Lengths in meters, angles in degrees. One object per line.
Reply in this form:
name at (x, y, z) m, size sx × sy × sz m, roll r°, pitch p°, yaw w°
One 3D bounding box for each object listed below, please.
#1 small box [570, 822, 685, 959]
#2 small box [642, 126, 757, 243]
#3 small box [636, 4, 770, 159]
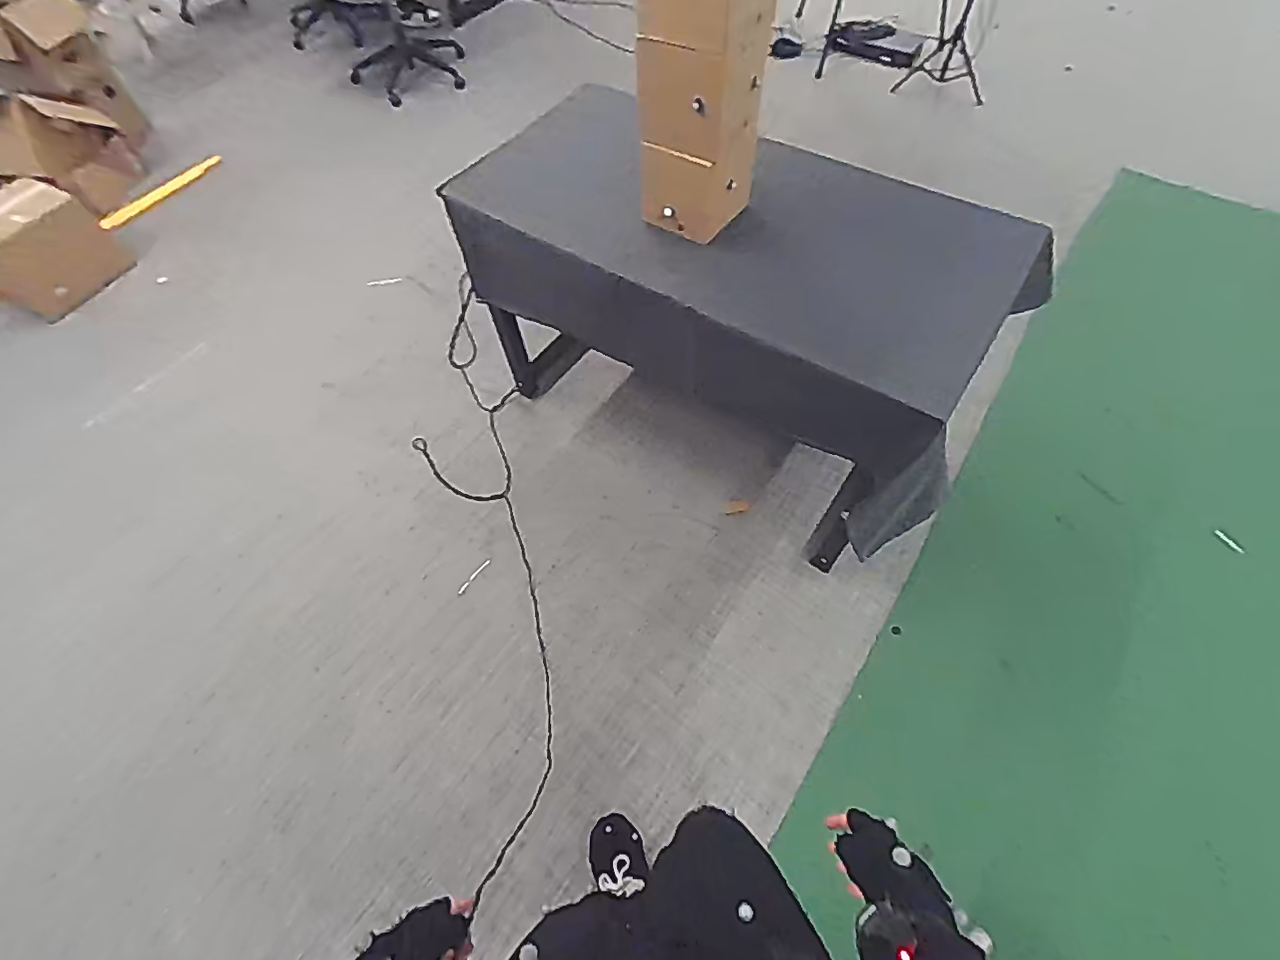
small box at (-0.027, 0.836, 1.118) m, size 0.179 × 0.176 × 0.168 m, roll 6°, pitch 70°, yaw 26°
small box at (0.118, -0.631, 1.123) m, size 0.168 × 0.176 × 0.179 m, roll 32°, pitch 66°, yaw 20°
small box at (0.111, -0.720, 0.986) m, size 0.179 × 0.176 × 0.168 m, roll 29°, pitch 63°, yaw 19°
